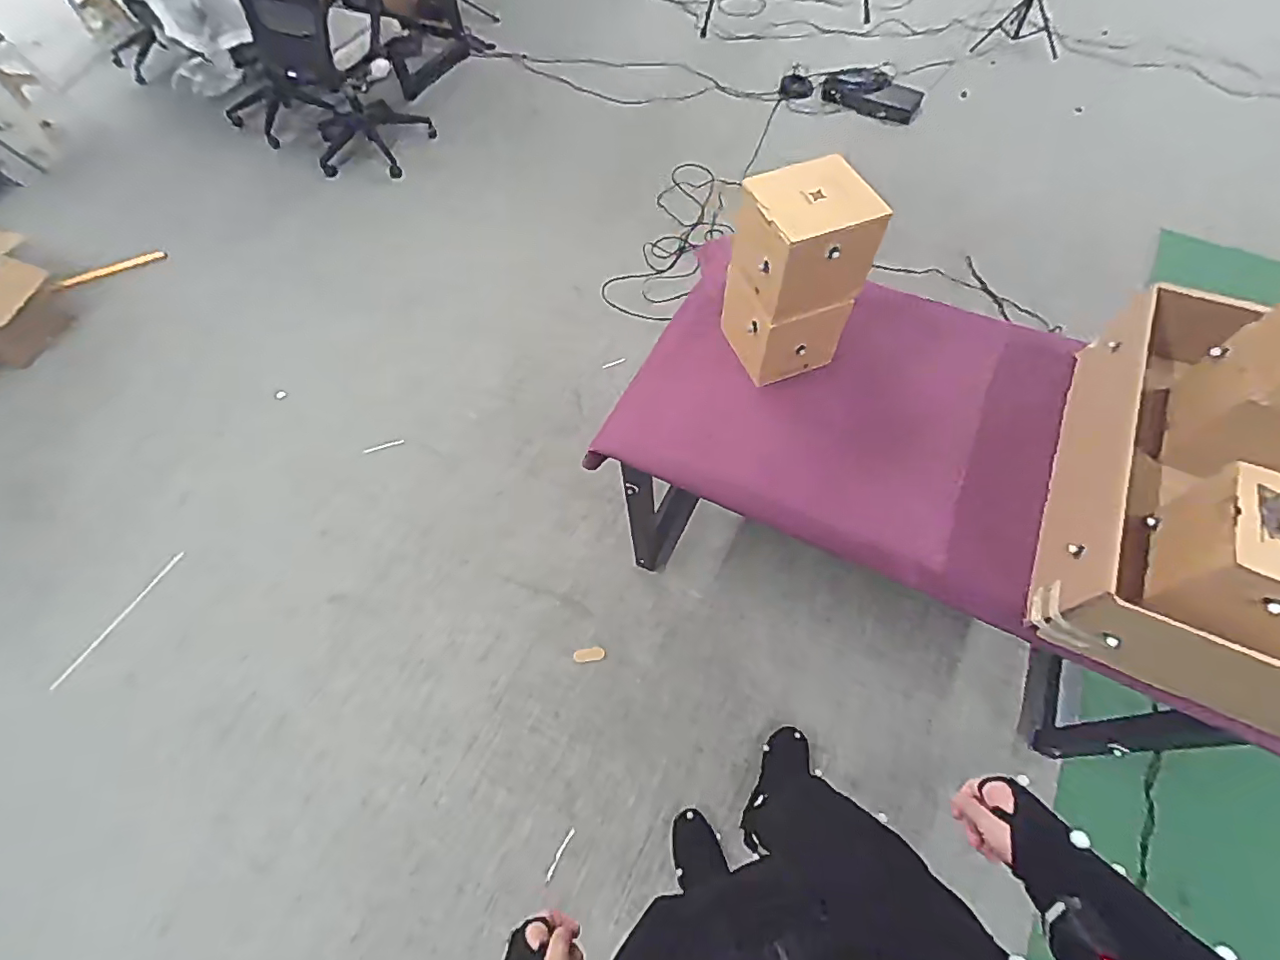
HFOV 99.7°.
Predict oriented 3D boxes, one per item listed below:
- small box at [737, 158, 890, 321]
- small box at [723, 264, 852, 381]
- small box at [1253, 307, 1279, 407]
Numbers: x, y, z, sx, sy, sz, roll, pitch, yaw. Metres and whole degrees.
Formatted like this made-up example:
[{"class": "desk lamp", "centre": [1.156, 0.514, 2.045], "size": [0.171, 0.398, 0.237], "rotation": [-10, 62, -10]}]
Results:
[{"class": "small box", "centre": [0.273, -0.394, 0.905], "size": [0.179, 0.176, 0.168], "rotation": [-19, 63, -8]}, {"class": "small box", "centre": [0.273, -0.314, 1.047], "size": [0.168, 0.176, 0.179], "rotation": [-19, 62, -8]}, {"class": "small box", "centre": [0.947, -0.174, 0.684], "size": [0.168, 0.176, 0.179], "rotation": [25, 66, 17]}]
